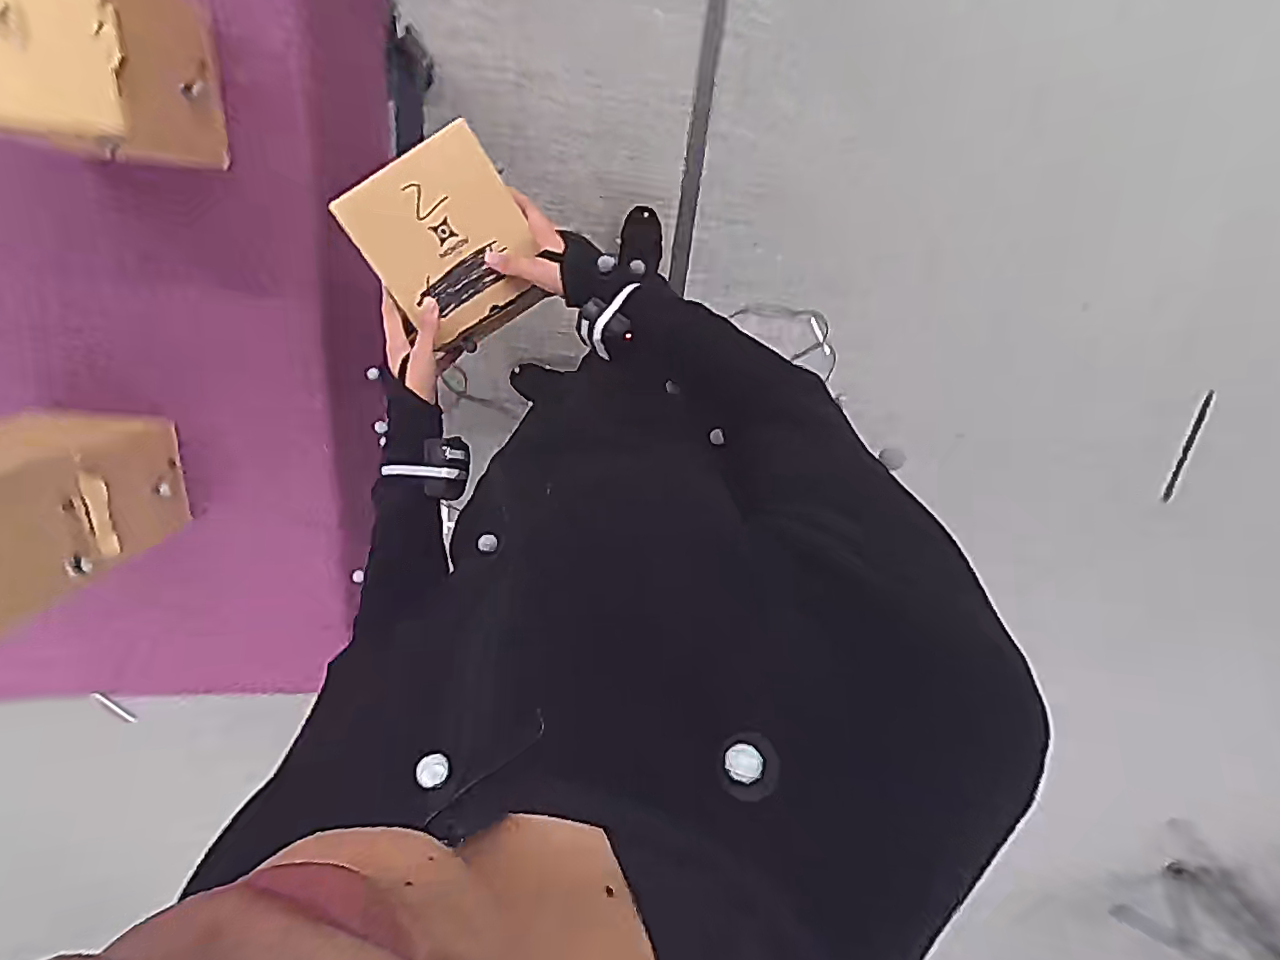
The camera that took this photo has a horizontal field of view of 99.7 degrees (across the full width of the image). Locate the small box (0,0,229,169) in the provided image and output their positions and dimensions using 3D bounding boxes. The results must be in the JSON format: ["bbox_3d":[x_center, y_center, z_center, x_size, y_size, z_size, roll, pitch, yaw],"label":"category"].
[{"bbox_3d":[-0.591,-0.445,0.575,0.179,0.176,0.168,2,109,-7],"label":"small box"}]

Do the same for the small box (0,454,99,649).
[{"bbox_3d":[-0.731,0.073,0.565,0.179,0.176,0.168,-1,109,-5],"label":"small box"}]

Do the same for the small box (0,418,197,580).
[{"bbox_3d":[-0.747,0.017,0.719,0.179,0.176,0.168,3,109,-8],"label":"small box"}]
